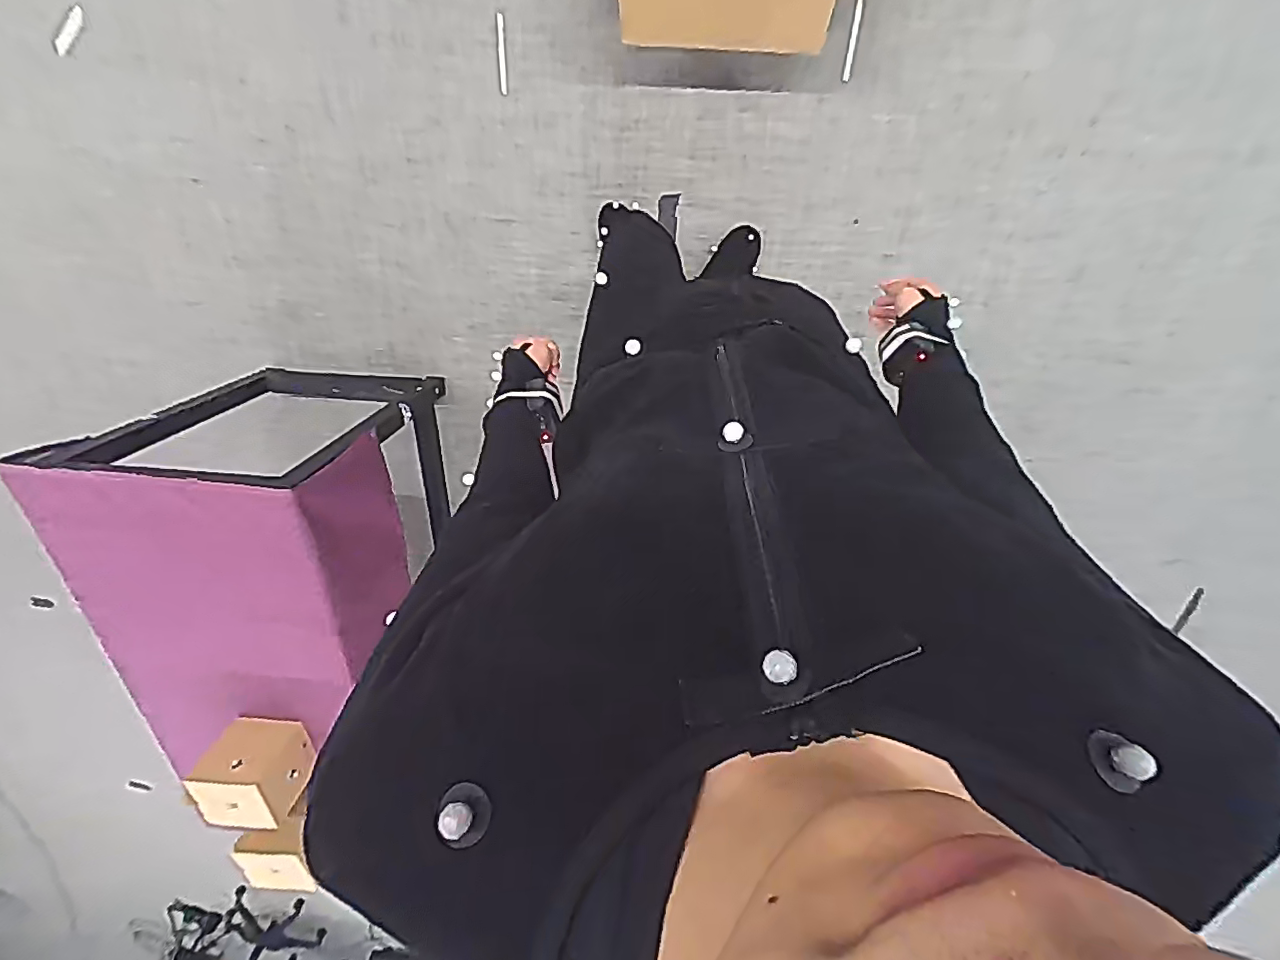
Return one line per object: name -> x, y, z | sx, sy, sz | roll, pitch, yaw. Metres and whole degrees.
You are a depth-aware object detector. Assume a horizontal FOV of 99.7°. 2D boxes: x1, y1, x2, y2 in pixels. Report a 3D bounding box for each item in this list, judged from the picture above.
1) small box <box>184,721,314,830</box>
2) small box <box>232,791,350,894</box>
small box -> -0.923, 0.706, 1.302 | 0.179, 0.176, 0.168 | 3, 117, 4
small box -> -0.911, 0.950, 1.428 | 0.179, 0.176, 0.168 | 1, 118, 5
